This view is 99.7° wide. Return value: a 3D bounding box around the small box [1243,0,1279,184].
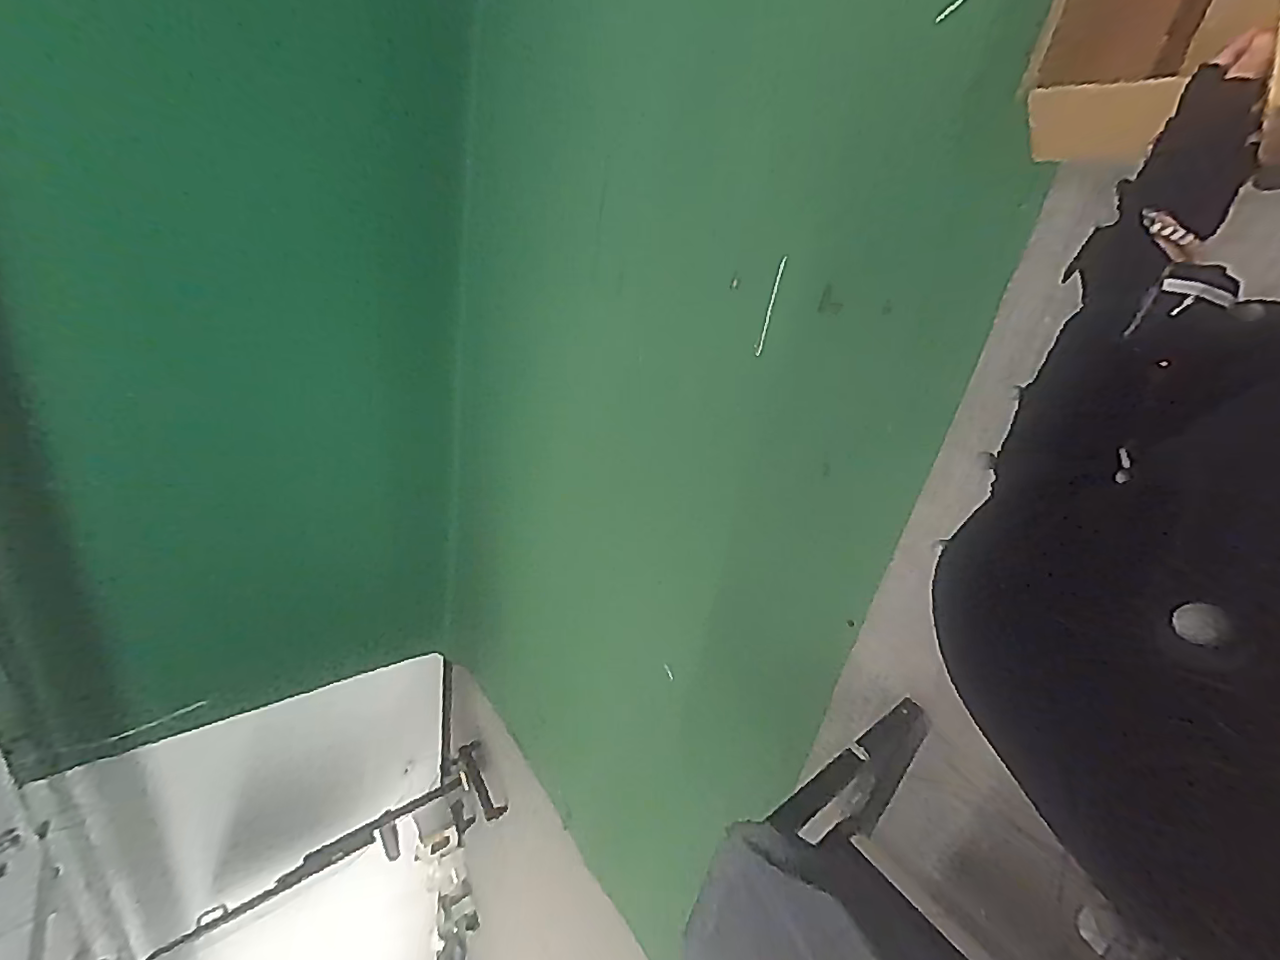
[{"bbox_3d":[0.495,-0.302,0.312,0.179,0.176,0.168,8,99,45],"label":"small box"}]
